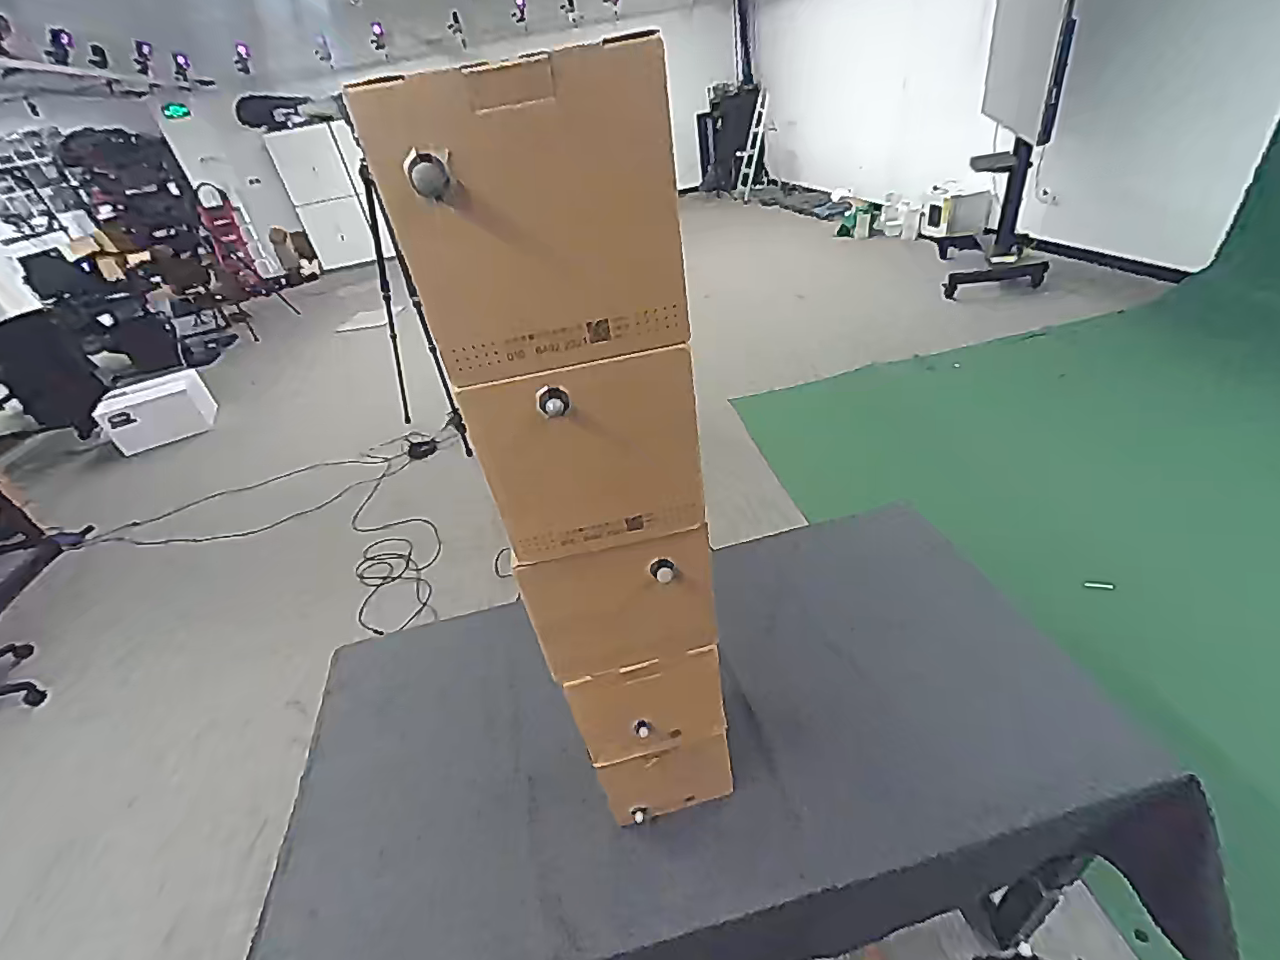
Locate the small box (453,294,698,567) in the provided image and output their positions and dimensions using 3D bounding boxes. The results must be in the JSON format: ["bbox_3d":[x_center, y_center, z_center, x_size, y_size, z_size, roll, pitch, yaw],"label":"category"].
[{"bbox_3d":[-0.050,-0.050,0.489,0.168,0.176,0.179,-12,35,-2],"label":"small box"}]

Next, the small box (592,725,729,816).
[{"bbox_3d":[0.020,0.345,0.770,0.168,0.176,0.179,-15,34,-5],"label":"small box"}]

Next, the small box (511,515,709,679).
[{"bbox_3d":[-0.029,0.083,0.581,0.179,0.176,0.168,-13,35,-3],"label":"small box"}]

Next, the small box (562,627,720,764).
[{"bbox_3d":[-0.006,0.215,0.677,0.168,0.176,0.179,-14,35,-4],"label":"small box"}]
